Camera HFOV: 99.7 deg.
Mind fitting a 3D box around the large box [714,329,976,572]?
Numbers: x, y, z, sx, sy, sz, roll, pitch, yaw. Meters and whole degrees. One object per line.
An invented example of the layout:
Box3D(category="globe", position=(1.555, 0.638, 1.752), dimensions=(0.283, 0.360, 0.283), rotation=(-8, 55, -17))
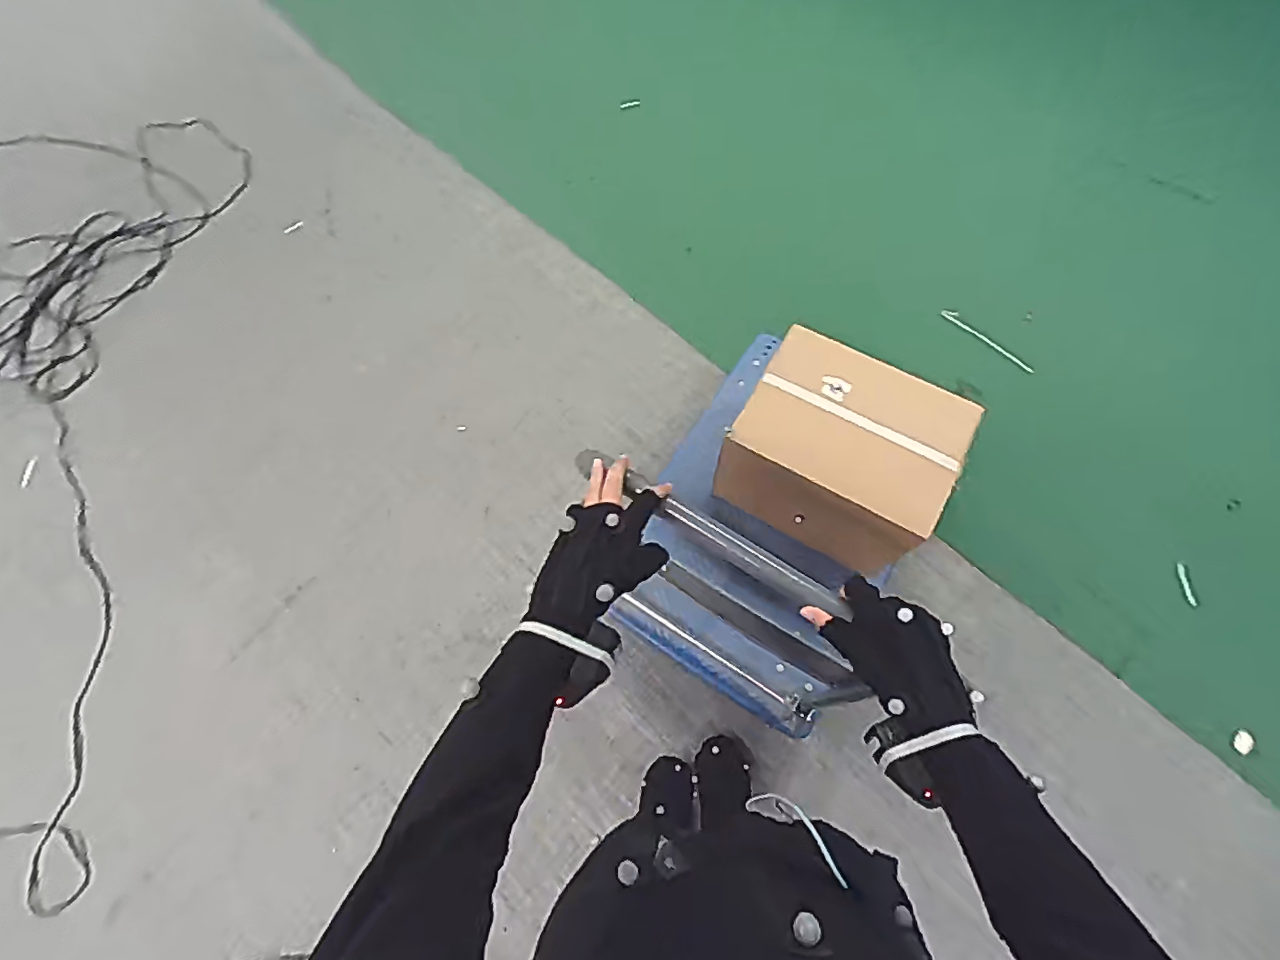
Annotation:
Box3D(category="large box", position=(0.415, -0.051, 1.183), dimensions=(0.408, 0.320, 0.320), rotation=(29, 71, 14))
